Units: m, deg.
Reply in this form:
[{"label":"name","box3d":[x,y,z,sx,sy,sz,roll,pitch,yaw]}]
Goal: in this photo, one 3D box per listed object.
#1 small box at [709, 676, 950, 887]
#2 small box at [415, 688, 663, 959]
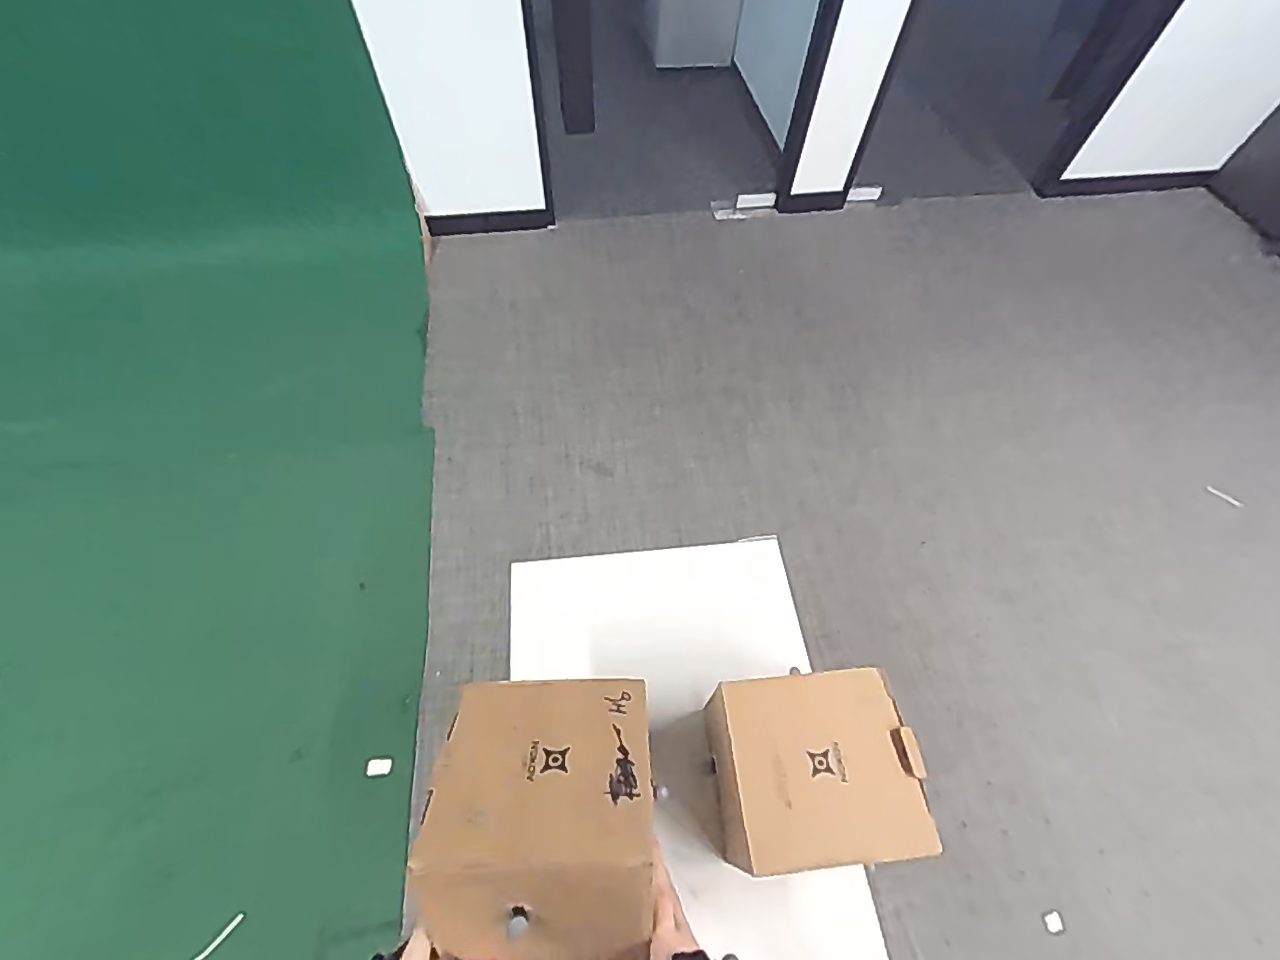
[{"label":"small box","box3d":[0.180,0.317,0.577,0.179,0.176,0.168,-5,58,-3]},{"label":"small box","box3d":[-0.071,0.312,0.483,0.179,0.176,0.168,-2,28,-1]}]
